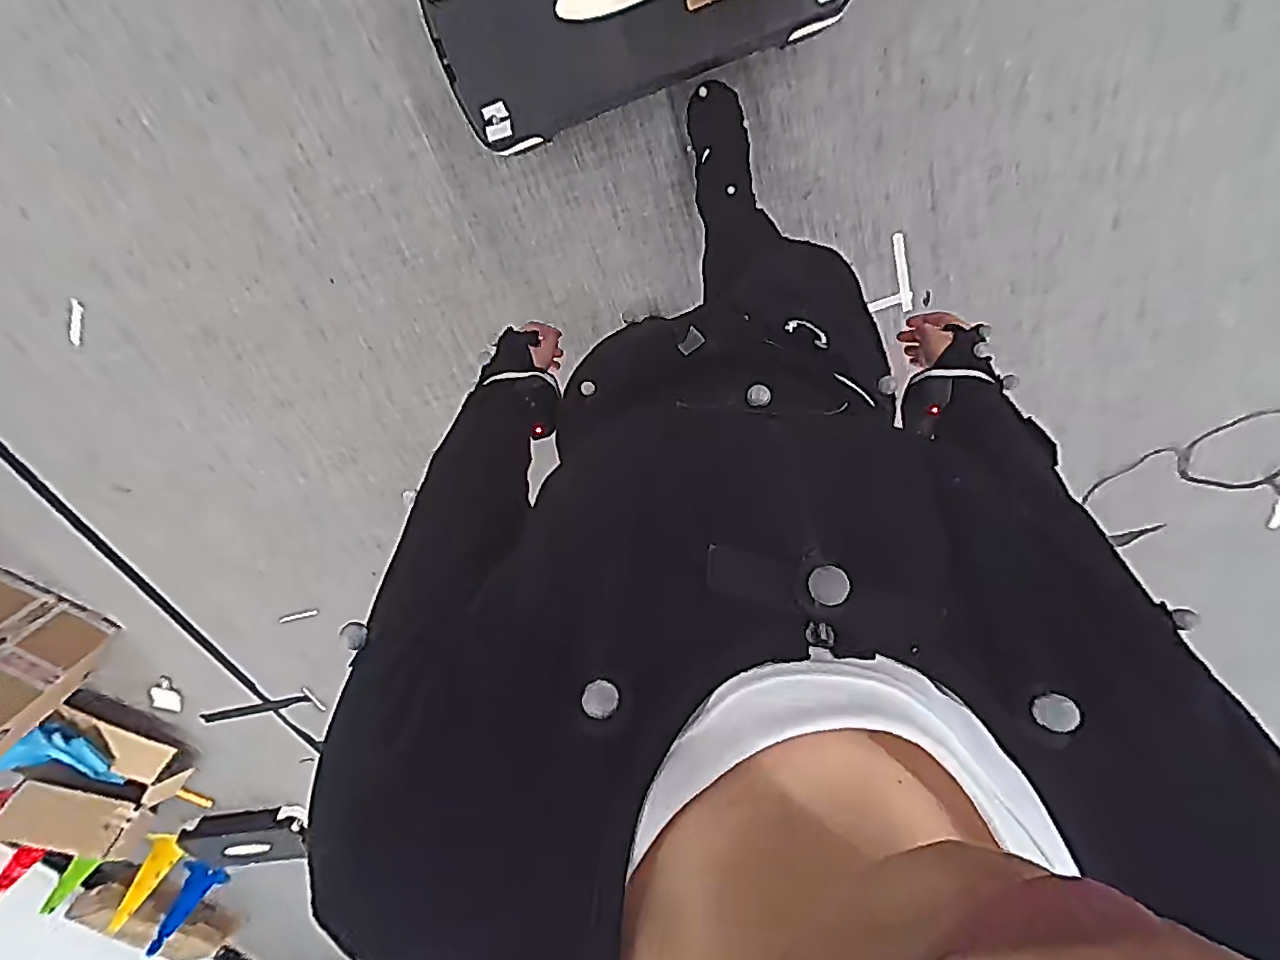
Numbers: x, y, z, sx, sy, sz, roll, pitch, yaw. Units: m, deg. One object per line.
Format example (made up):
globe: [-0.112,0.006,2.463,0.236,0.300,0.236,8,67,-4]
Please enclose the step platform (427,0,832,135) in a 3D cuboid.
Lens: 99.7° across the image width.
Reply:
step platform: [-0.003,-0.832,0.876,0.684,0.204,0.286,-15,119,12]
